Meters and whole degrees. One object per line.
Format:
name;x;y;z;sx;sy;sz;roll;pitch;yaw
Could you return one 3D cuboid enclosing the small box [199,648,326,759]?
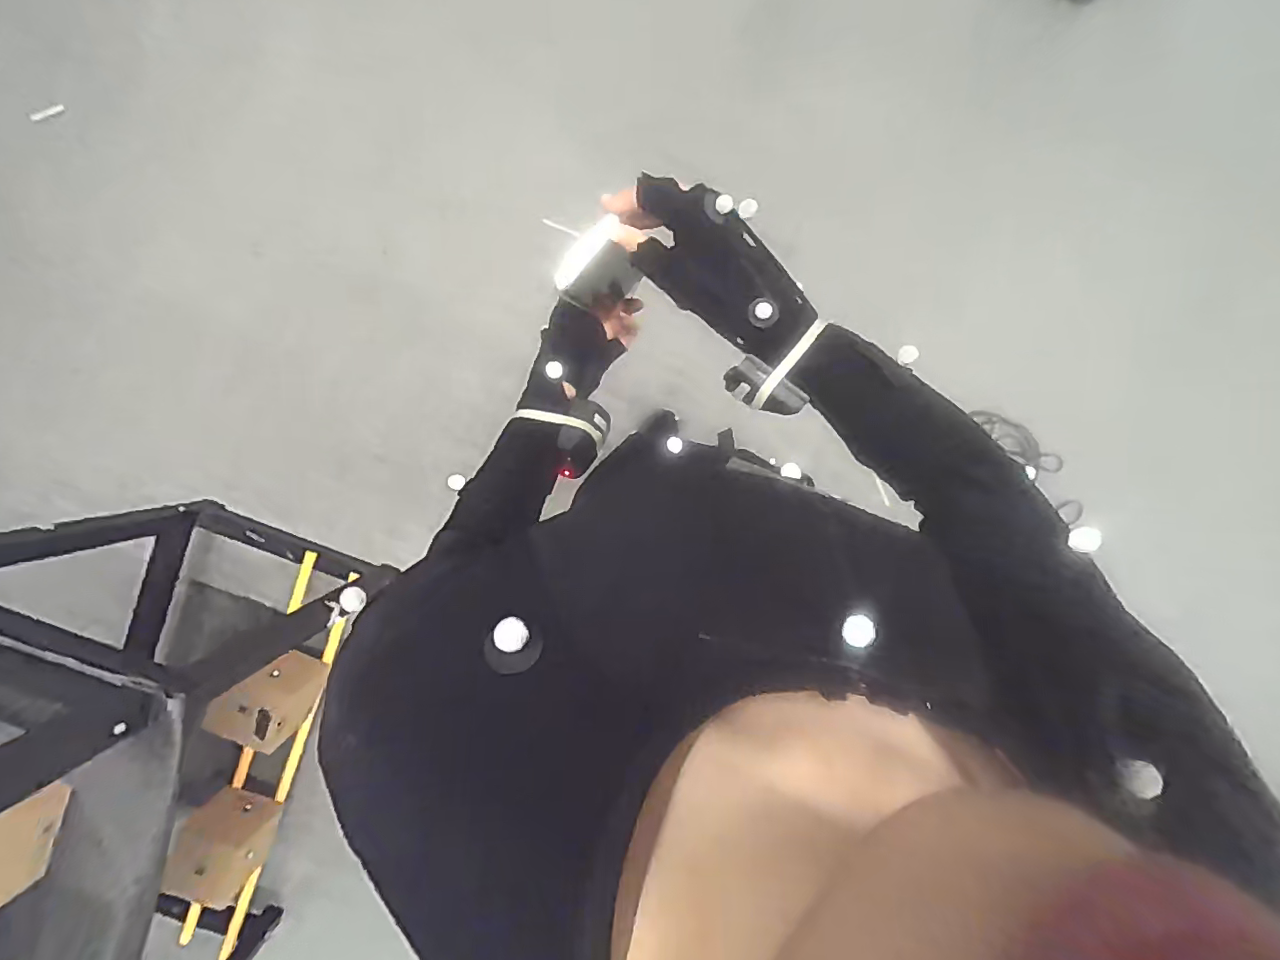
small box;-0.926;0.544;1.344;0.179;0.176;0.168;24;95;-2
